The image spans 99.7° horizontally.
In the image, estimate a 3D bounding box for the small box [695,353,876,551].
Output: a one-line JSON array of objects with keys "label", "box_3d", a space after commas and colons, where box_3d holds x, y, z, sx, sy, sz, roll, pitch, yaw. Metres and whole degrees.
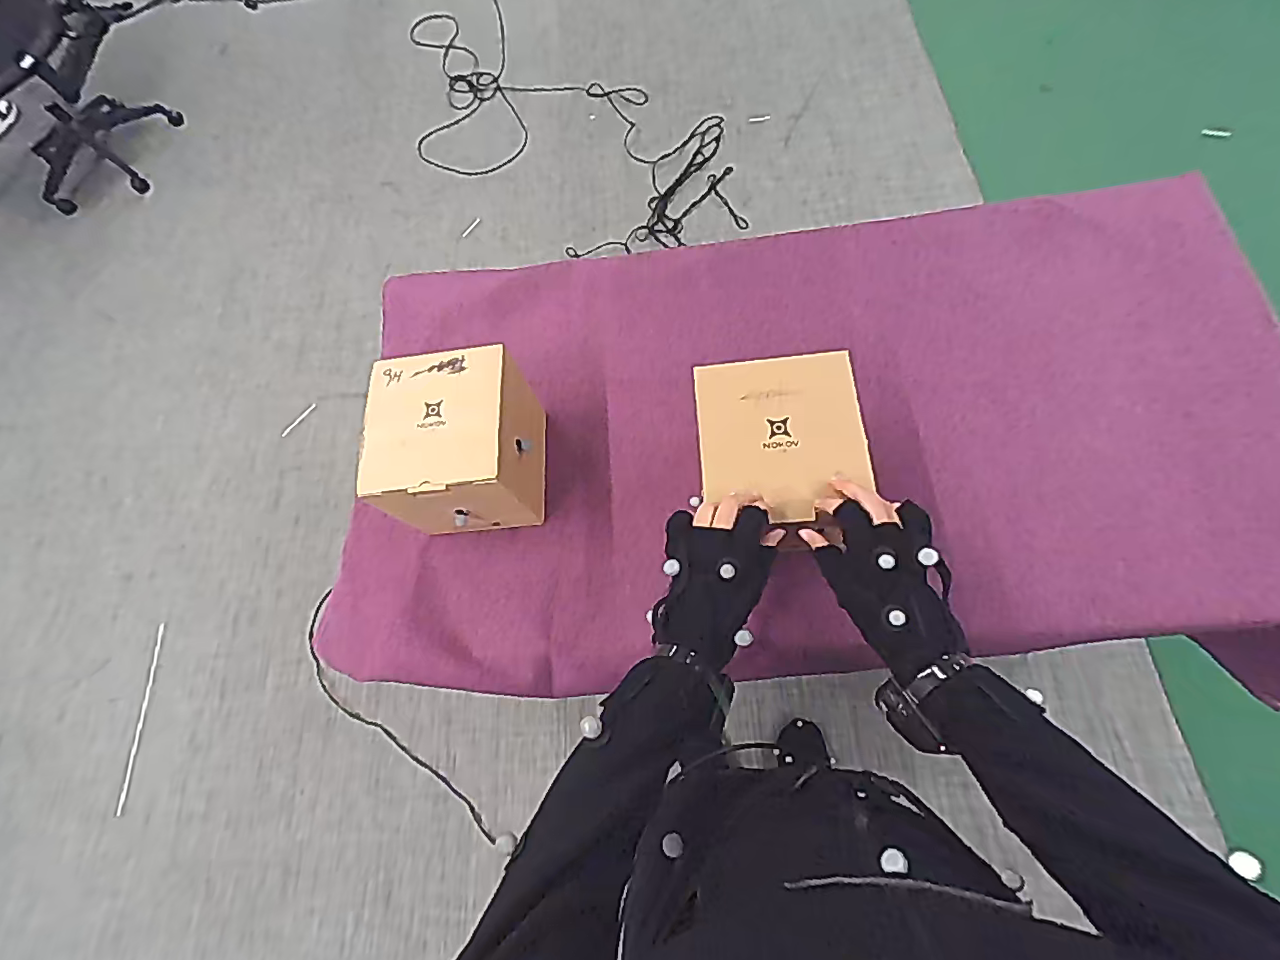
[{"label": "small box", "box_3d": [0.154, -0.019, 0.624, 0.168, 0.176, 0.179, -5, 68, 7]}]

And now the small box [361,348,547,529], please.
[{"label": "small box", "box_3d": [-0.221, -0.040, 0.690, 0.168, 0.176, 0.179, -6, 69, 6]}]
